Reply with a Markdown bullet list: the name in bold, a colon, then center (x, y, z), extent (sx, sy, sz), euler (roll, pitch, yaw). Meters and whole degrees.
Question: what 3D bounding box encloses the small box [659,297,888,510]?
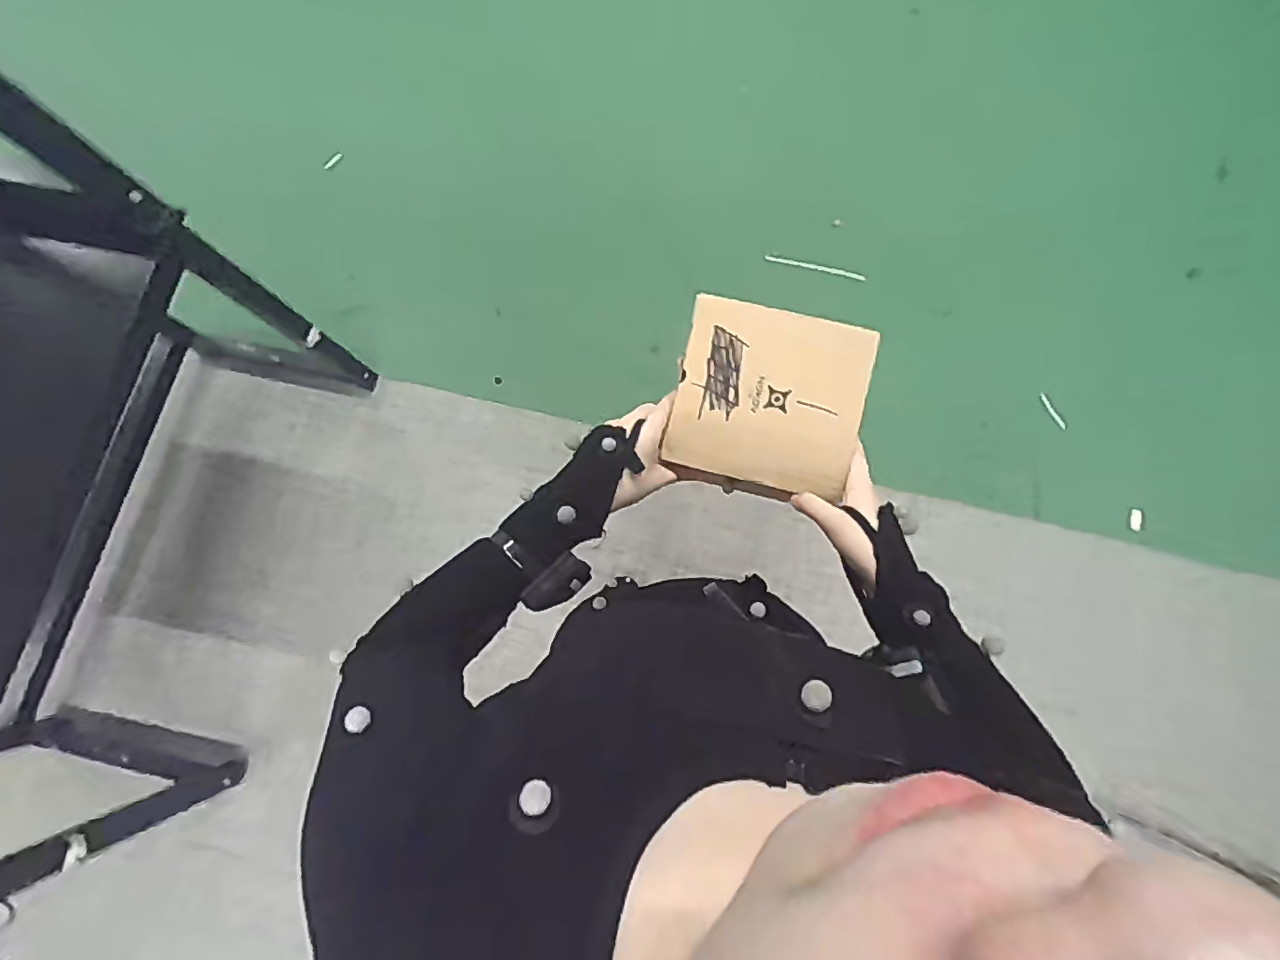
- **small box**: center (0.126, -0.067, 0.572), extent (0.179, 0.176, 0.168), euler (15, 88, 4)
